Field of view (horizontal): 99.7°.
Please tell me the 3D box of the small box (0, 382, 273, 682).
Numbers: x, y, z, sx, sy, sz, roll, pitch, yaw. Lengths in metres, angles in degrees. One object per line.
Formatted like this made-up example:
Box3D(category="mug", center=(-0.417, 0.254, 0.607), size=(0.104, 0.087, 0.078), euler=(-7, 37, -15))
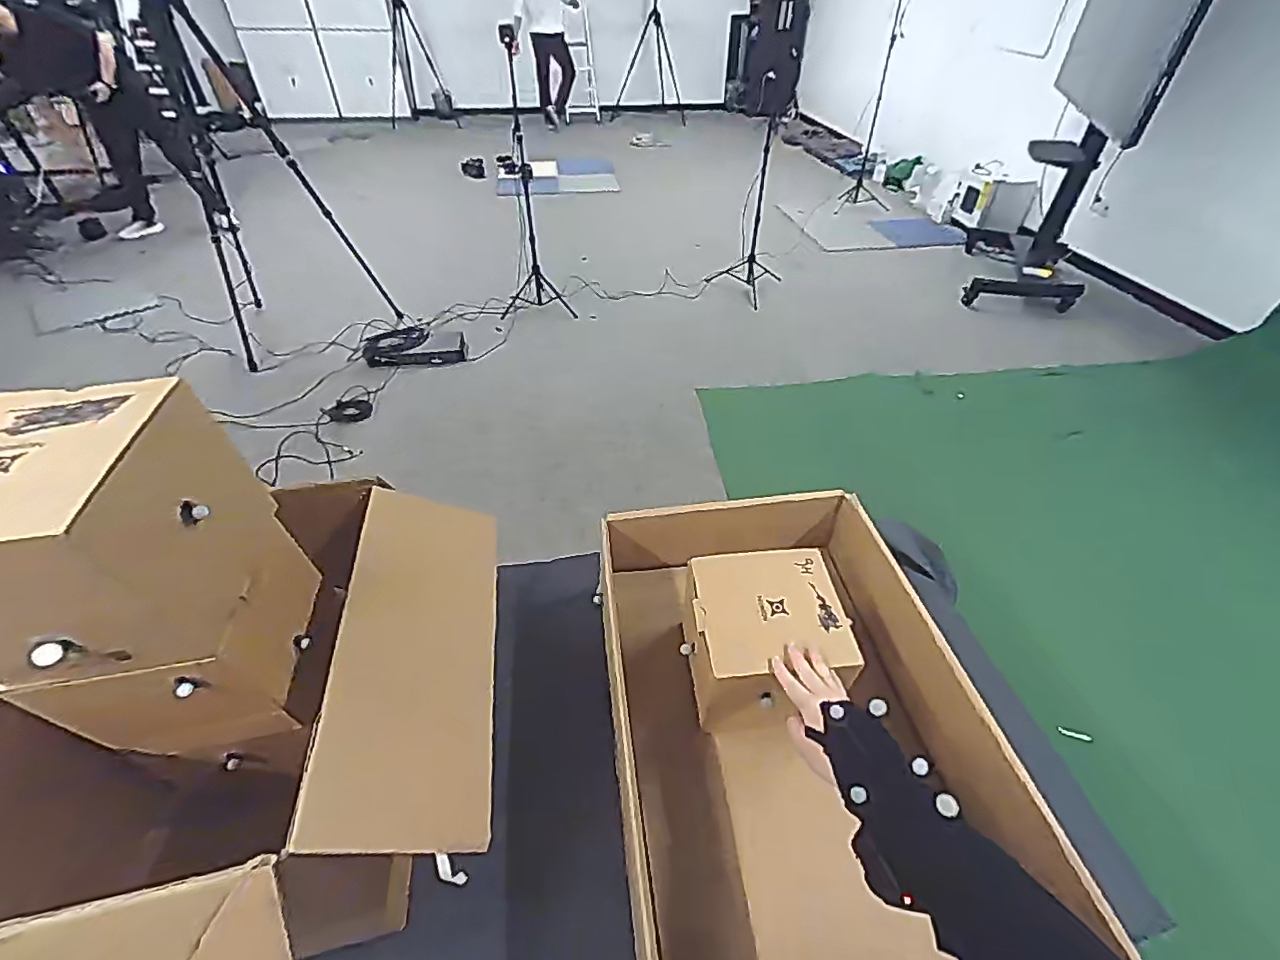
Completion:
Box3D(category="small box", center=(-0.448, 0.042, 0.451), size=(0.168, 0.176, 0.179), euler=(-7, 47, -5))
